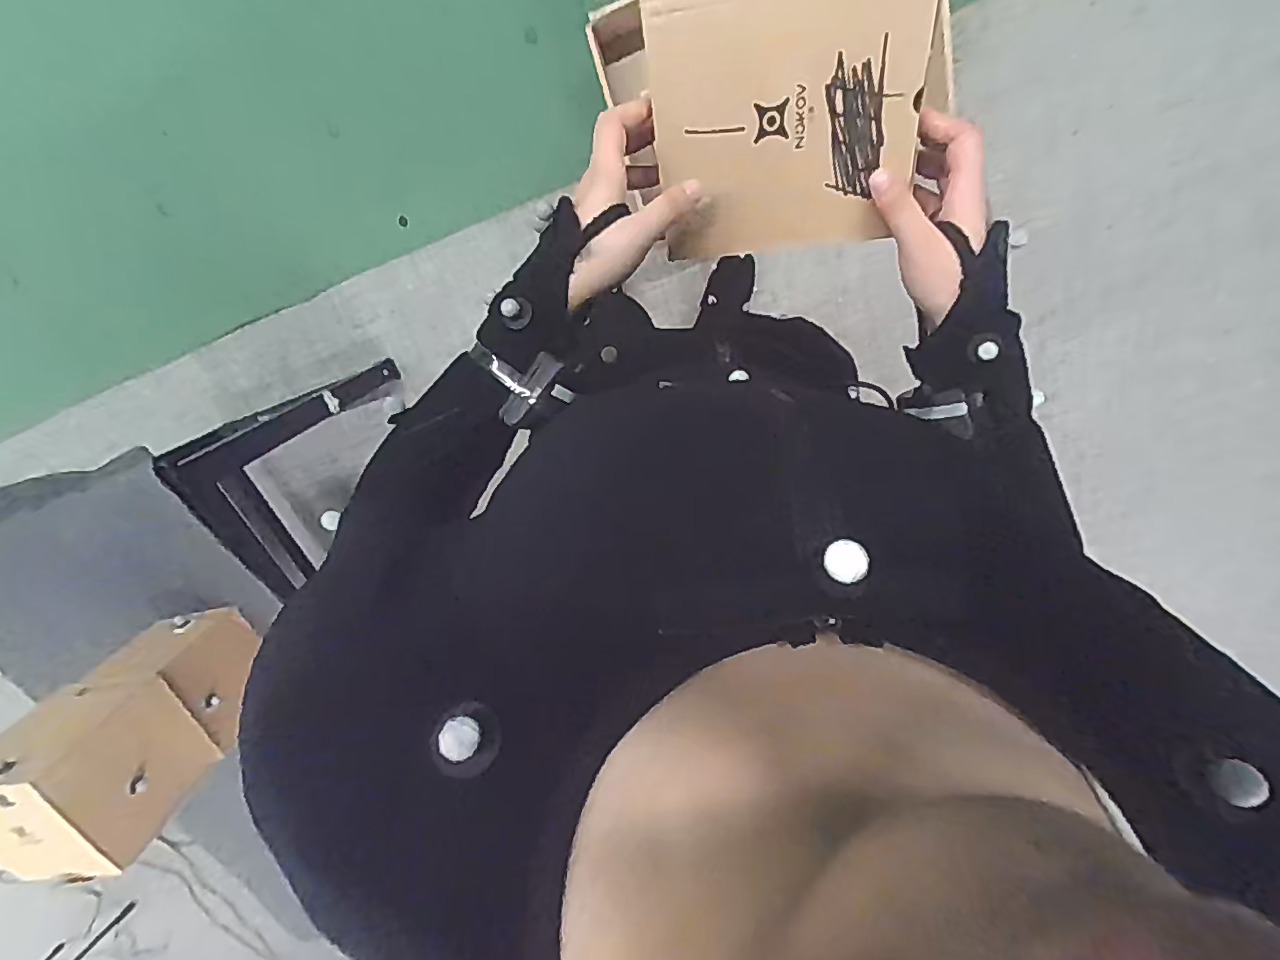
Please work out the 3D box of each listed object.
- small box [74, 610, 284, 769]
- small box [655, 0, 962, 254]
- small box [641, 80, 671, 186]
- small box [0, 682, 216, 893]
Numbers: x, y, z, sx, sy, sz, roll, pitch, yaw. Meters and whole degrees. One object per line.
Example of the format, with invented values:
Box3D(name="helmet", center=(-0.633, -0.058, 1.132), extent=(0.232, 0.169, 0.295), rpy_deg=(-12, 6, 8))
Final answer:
Box3D(name="small box", center=(-0.719, 0.337, 0.857), extent=(0.168, 0.176, 0.179), rpy_deg=(-14, 113, 9))
Box3D(name="small box", center=(0.112, -0.287, 0.405), extent=(0.179, 0.176, 0.168), rpy_deg=(-1, 129, 11))
Box3D(name="small box", center=(0.110, -0.699, 1.071), extent=(0.179, 0.176, 0.168), rpy_deg=(-16, 115, 9))
Box3D(name="small box", center=(-0.715, 0.393, 0.702), extent=(0.168, 0.176, 0.179), rpy_deg=(-11, 115, 8))
